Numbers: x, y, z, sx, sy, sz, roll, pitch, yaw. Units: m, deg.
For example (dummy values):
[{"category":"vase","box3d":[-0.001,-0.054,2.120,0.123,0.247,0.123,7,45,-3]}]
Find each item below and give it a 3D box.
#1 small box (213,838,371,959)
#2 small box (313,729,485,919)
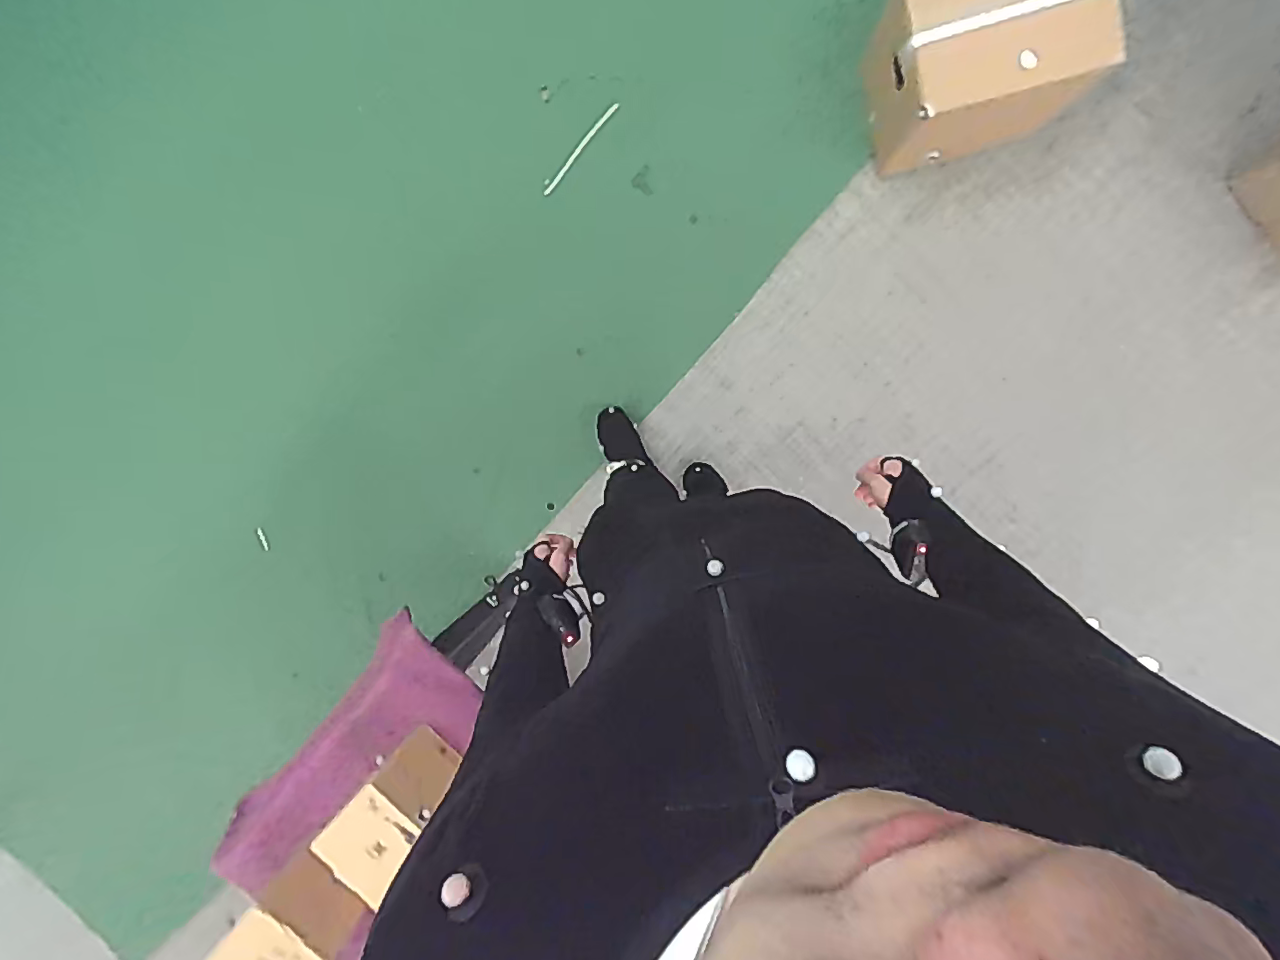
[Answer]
[{"category":"small box","box3d":[-0.613,0.809,0.975,0.168,0.176,0.179,40,99,-2]},{"category":"small box","box3d":[-0.399,0.576,0.926,0.168,0.176,0.179,43,101,-1]}]
